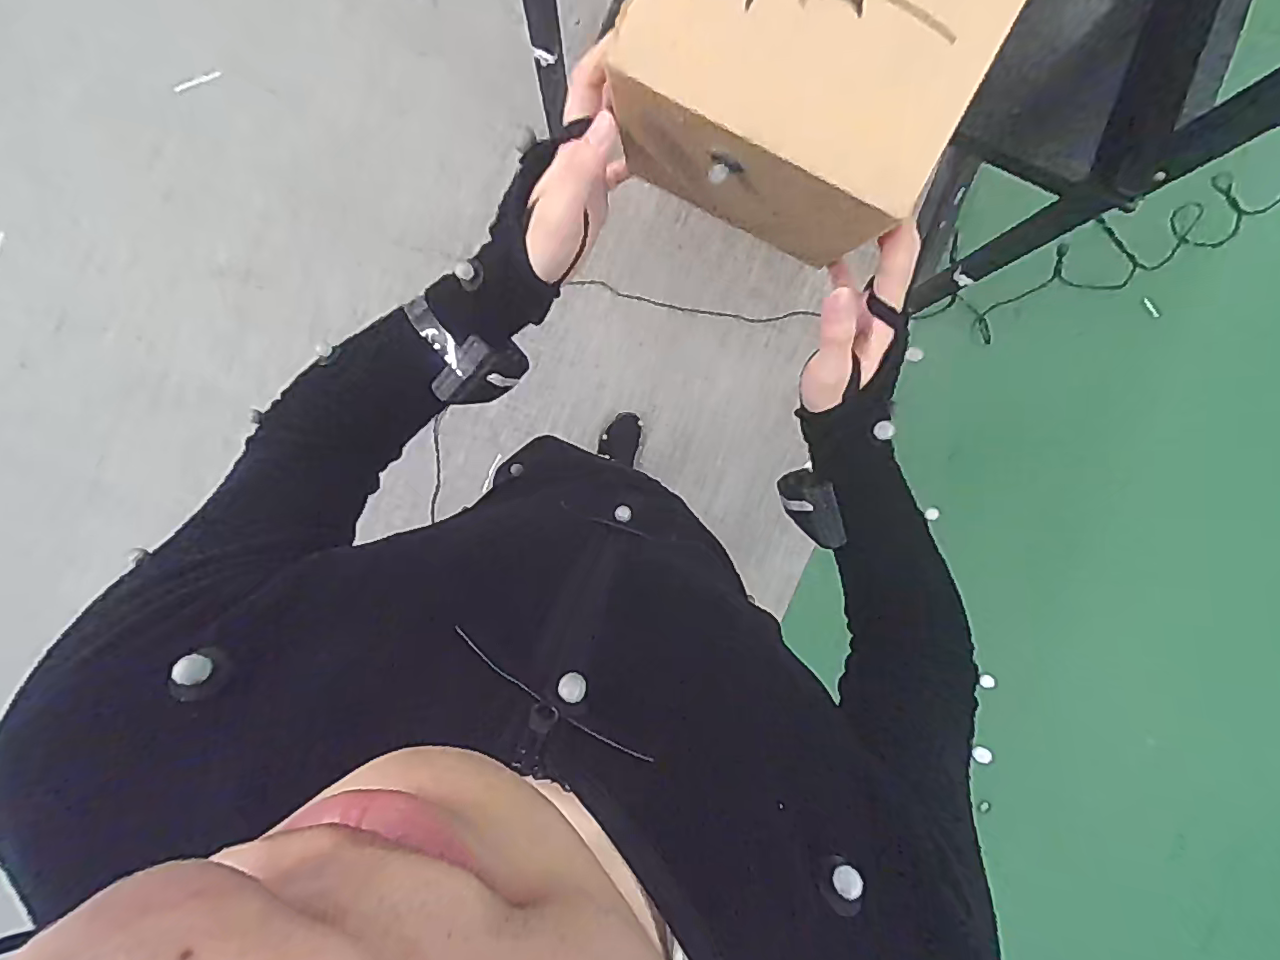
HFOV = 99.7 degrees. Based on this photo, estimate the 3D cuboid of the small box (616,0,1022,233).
[{"bbox_3d":[0.103,-0.275,0.328,0.179,0.176,0.168,25,104,-3],"label":"small box"}]
